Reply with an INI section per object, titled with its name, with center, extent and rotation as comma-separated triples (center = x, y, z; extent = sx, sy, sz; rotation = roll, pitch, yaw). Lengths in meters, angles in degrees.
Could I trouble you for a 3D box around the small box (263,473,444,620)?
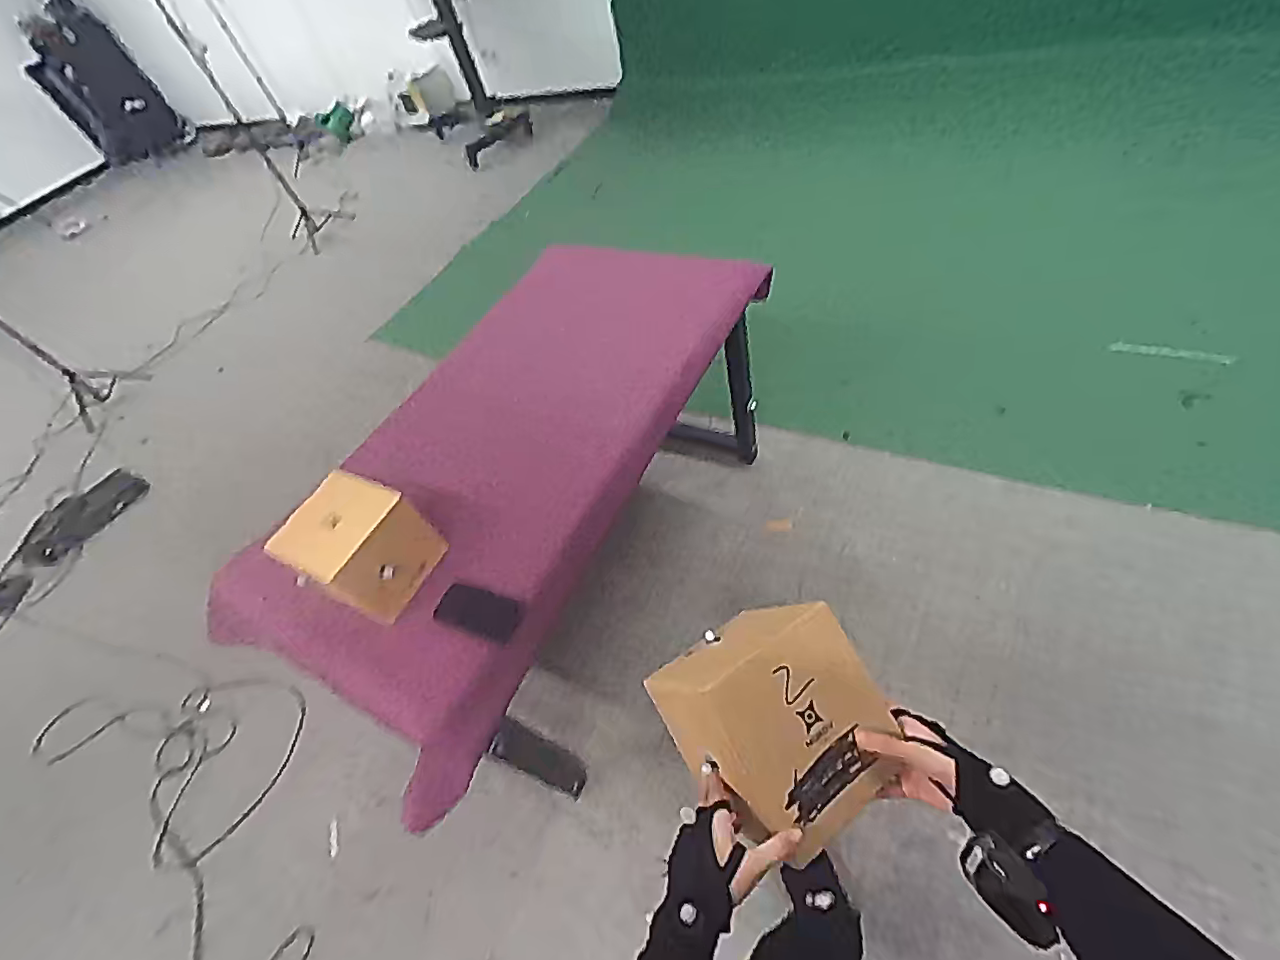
[small box]
center = -0.474, 0.117, 0.921
extent = 0.179, 0.176, 0.168
rotation = 14, 58, 26
